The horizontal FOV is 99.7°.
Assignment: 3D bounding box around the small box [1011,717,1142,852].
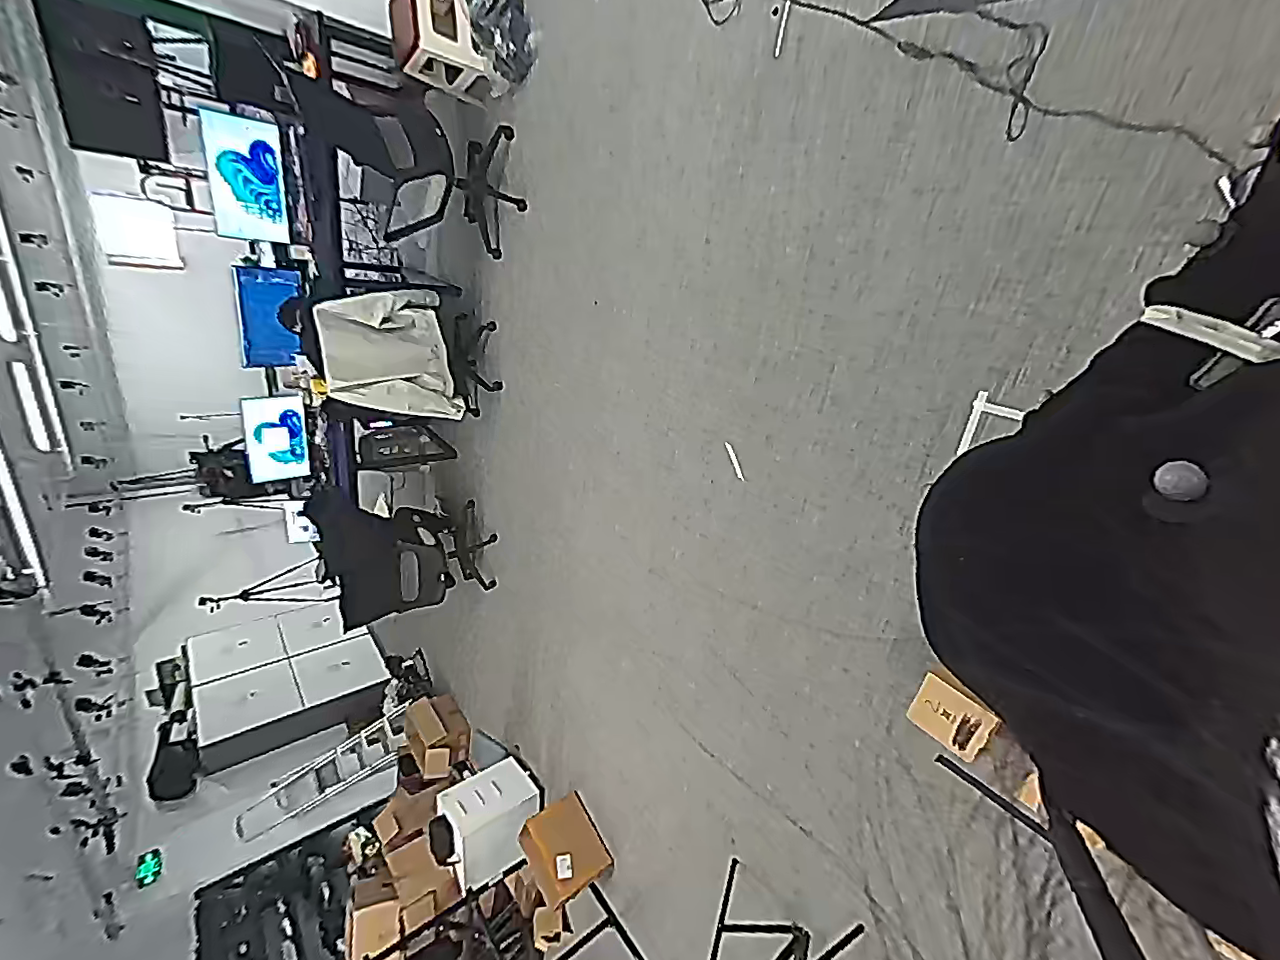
[{"bbox_3d":[1.007,0.692,1.245,0.168,0.176,0.179,35,124,39],"label":"small box"}]
